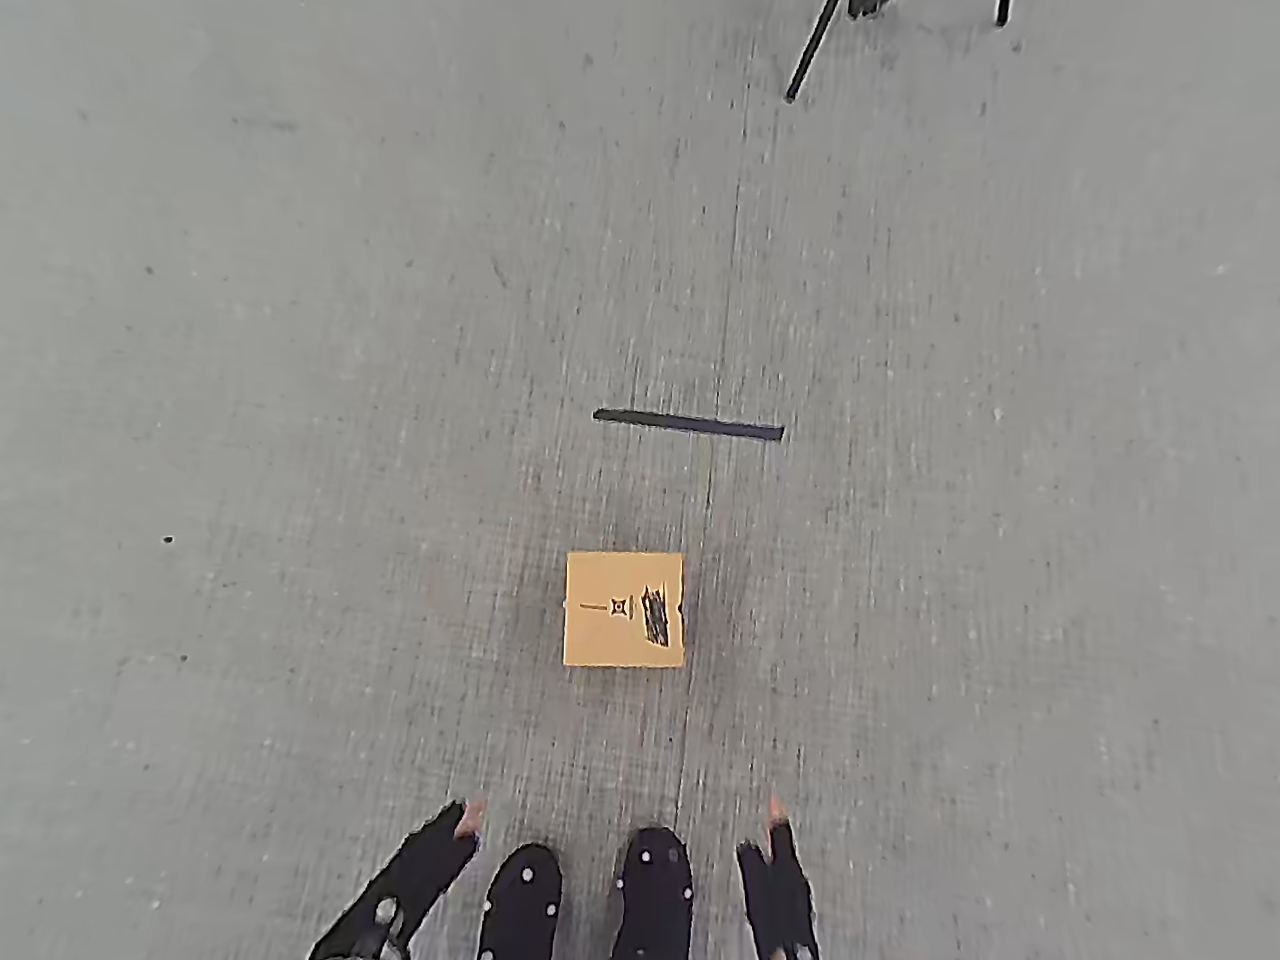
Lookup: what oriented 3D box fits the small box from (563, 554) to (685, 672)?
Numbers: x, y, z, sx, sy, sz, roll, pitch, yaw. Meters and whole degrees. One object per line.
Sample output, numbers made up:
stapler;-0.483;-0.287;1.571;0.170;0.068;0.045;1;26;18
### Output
small box;-0.023;0.212;0.869;0.179;0.176;0.168;1;75;0
